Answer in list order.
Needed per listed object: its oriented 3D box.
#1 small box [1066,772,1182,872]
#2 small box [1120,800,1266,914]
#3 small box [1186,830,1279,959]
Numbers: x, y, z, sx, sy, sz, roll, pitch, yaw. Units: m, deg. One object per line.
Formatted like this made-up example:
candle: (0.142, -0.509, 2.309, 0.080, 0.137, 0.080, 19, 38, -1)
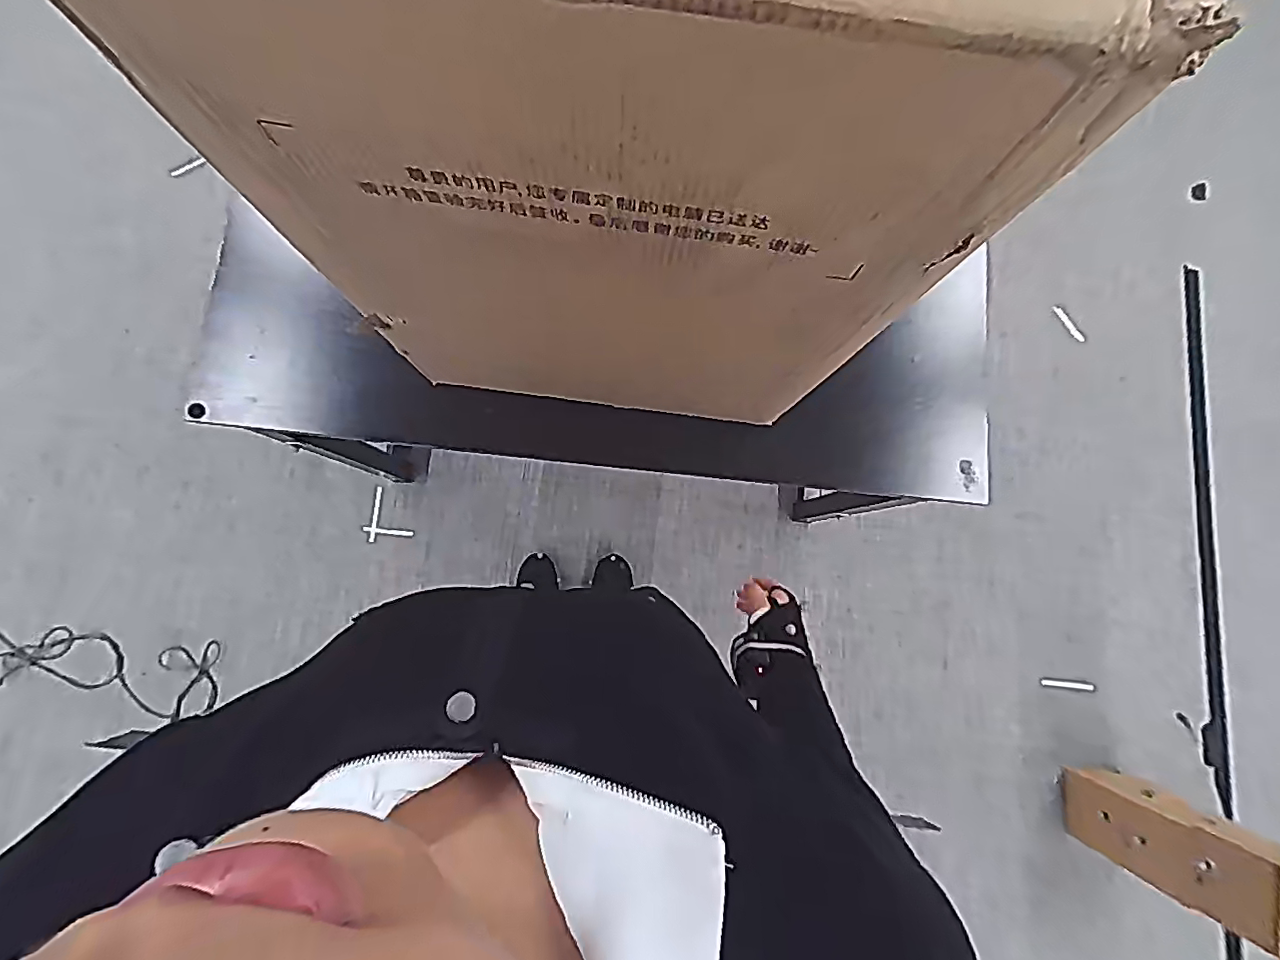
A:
small box: (1.252, 0.879, 1.403, 0.168, 0.176, 0.179, 3, 82, -3)
small box: (1.261, 0.860, 1.240, 0.179, 0.176, 0.168, 7, 81, -2)
small box: (1.263, 0.836, 1.079, 0.179, 0.176, 0.168, 12, 81, 0)
